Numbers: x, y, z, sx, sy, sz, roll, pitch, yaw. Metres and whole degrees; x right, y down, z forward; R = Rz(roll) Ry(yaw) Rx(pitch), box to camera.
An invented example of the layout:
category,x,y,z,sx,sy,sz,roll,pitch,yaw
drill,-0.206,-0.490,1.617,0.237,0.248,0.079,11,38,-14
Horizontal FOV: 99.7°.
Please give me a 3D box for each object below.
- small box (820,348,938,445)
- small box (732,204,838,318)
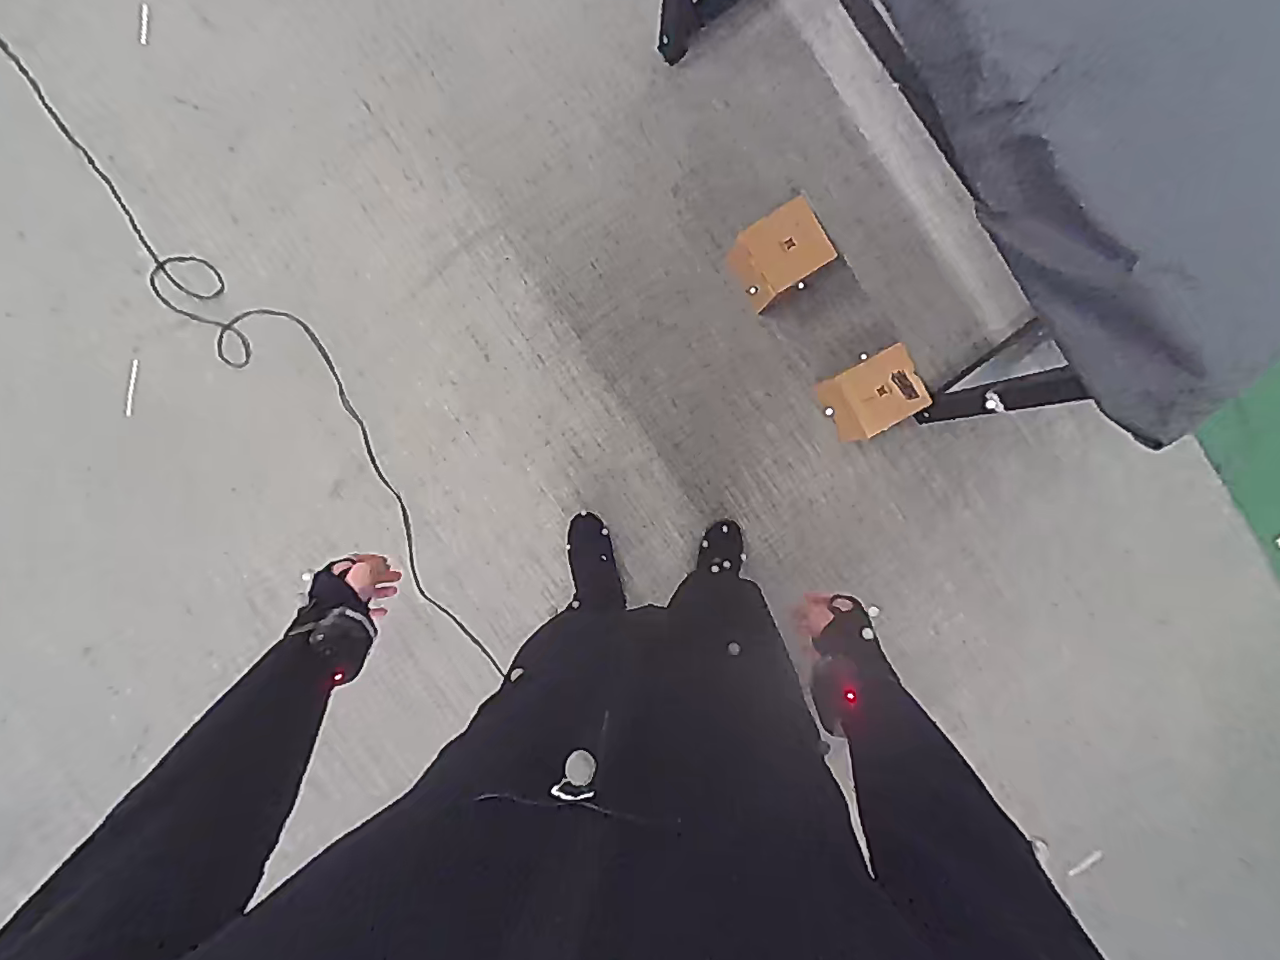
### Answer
category,x,y,z,sx,sy,sz,roll,pitch,yaw
small box,0.576,-0.198,1.327,0.179,0.176,0.168,-30,91,1
small box,0.342,-0.525,1.324,0.179,0.176,0.168,-33,92,-2
